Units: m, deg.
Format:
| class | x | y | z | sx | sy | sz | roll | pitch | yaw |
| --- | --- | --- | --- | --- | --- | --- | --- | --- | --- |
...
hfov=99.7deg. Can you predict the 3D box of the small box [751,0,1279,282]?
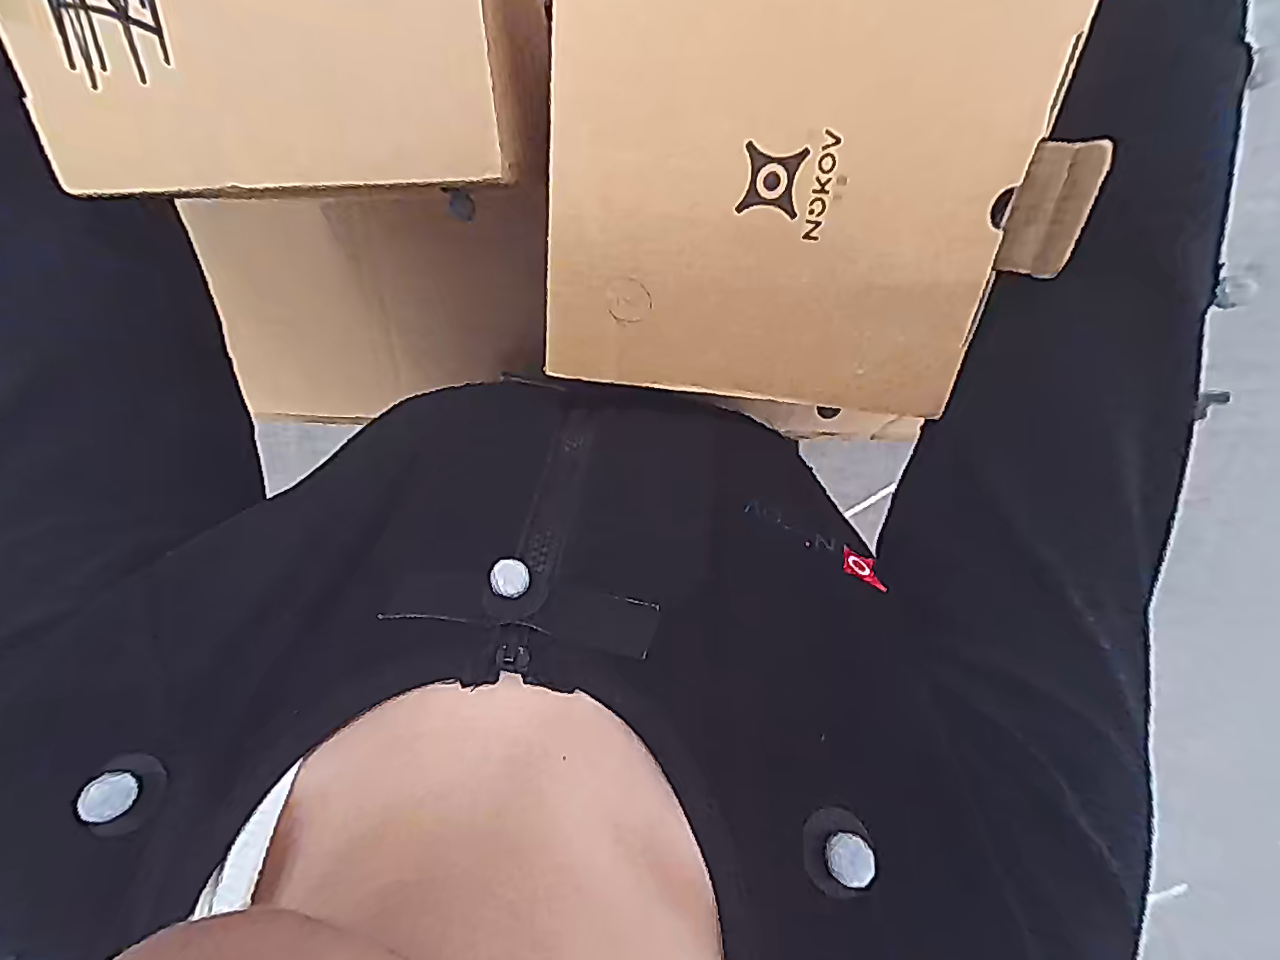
| class | x | y | z | sx | sy | sz | roll | pitch | yaw |
| --- | --- | --- | --- | --- | --- | --- | --- | --- | --- |
| small box | 0.162 | -0.201 | 0.220 | 0.179 | 0.176 | 0.168 | 18 | 123 | -6 |
